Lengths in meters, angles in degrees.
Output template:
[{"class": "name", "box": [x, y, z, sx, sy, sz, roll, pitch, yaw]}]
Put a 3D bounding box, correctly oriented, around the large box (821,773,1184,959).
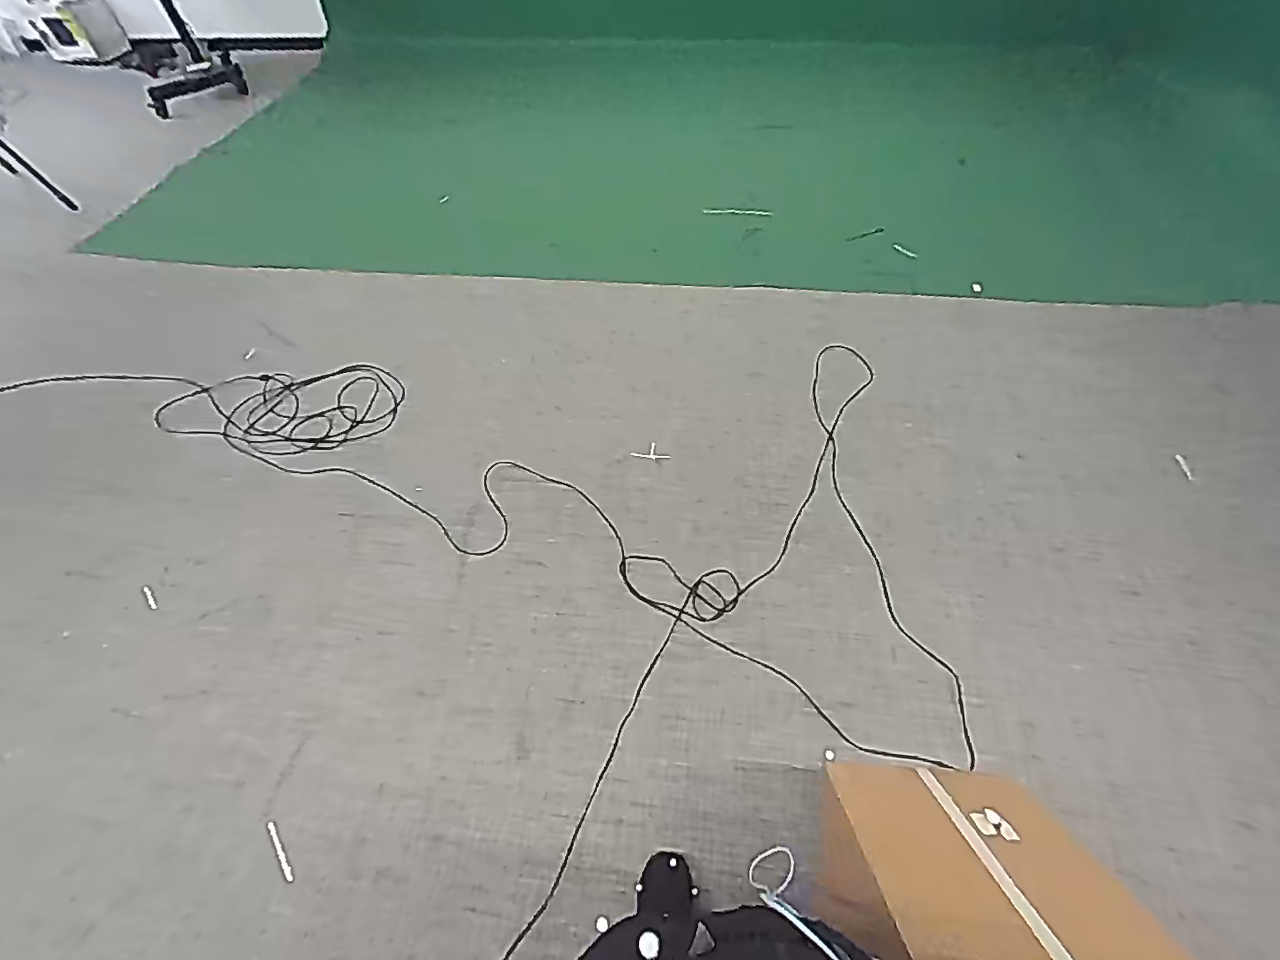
[{"class": "large box", "box": [0.449, 0.664, 0.719, 0.320, 0.408, 0.320, 2, 93, 5]}]
